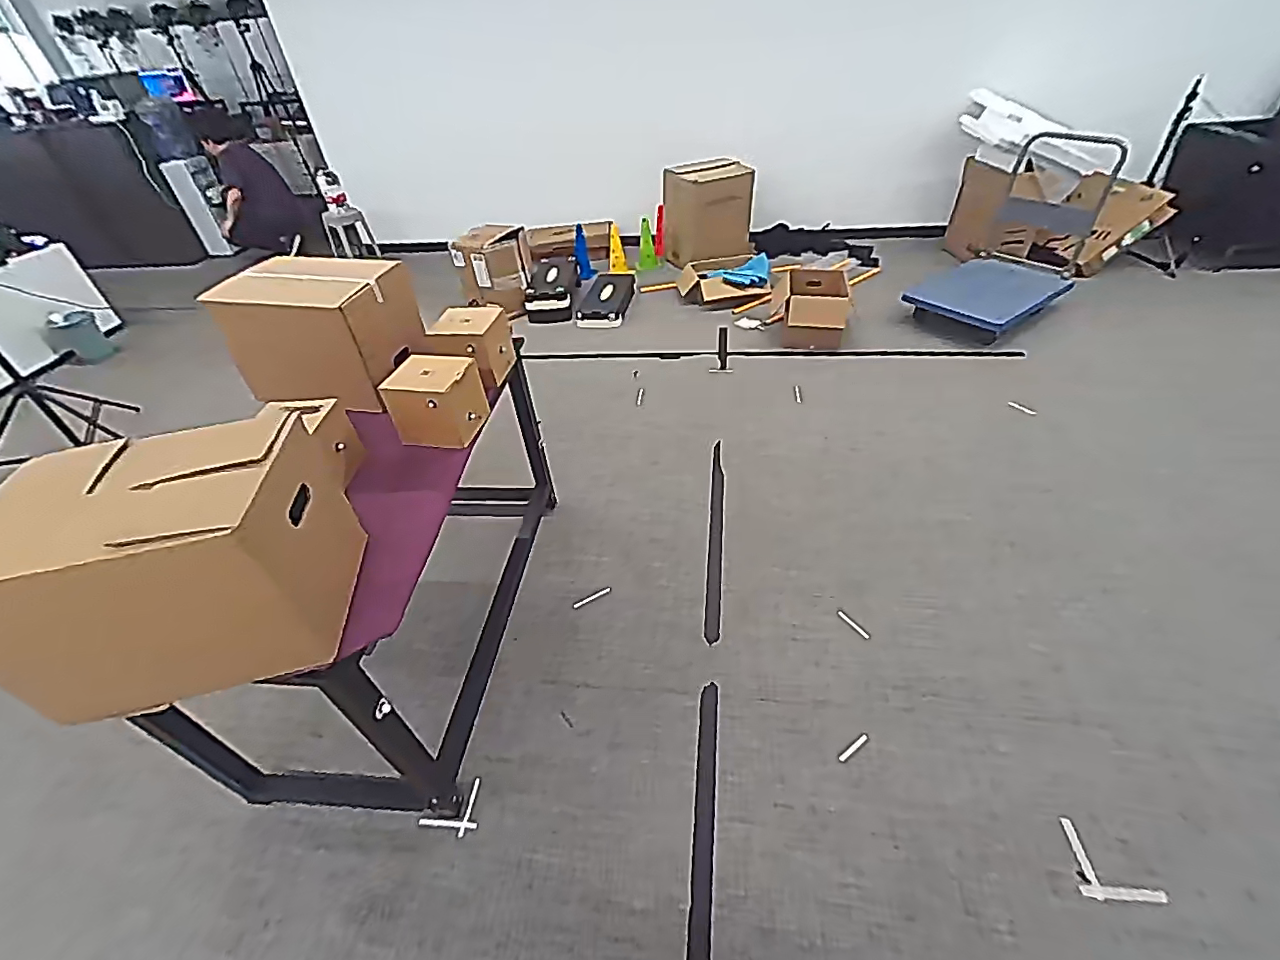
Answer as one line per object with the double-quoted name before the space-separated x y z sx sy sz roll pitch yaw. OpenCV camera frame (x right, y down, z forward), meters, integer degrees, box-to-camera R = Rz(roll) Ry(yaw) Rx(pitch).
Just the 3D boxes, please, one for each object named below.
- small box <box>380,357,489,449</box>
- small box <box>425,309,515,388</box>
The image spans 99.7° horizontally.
"small box" -0.505 -0.193 1.356 0.179 0.176 0.168 5 42 10
"small box" -0.479 -0.377 1.560 0.179 0.176 0.168 2 41 11
